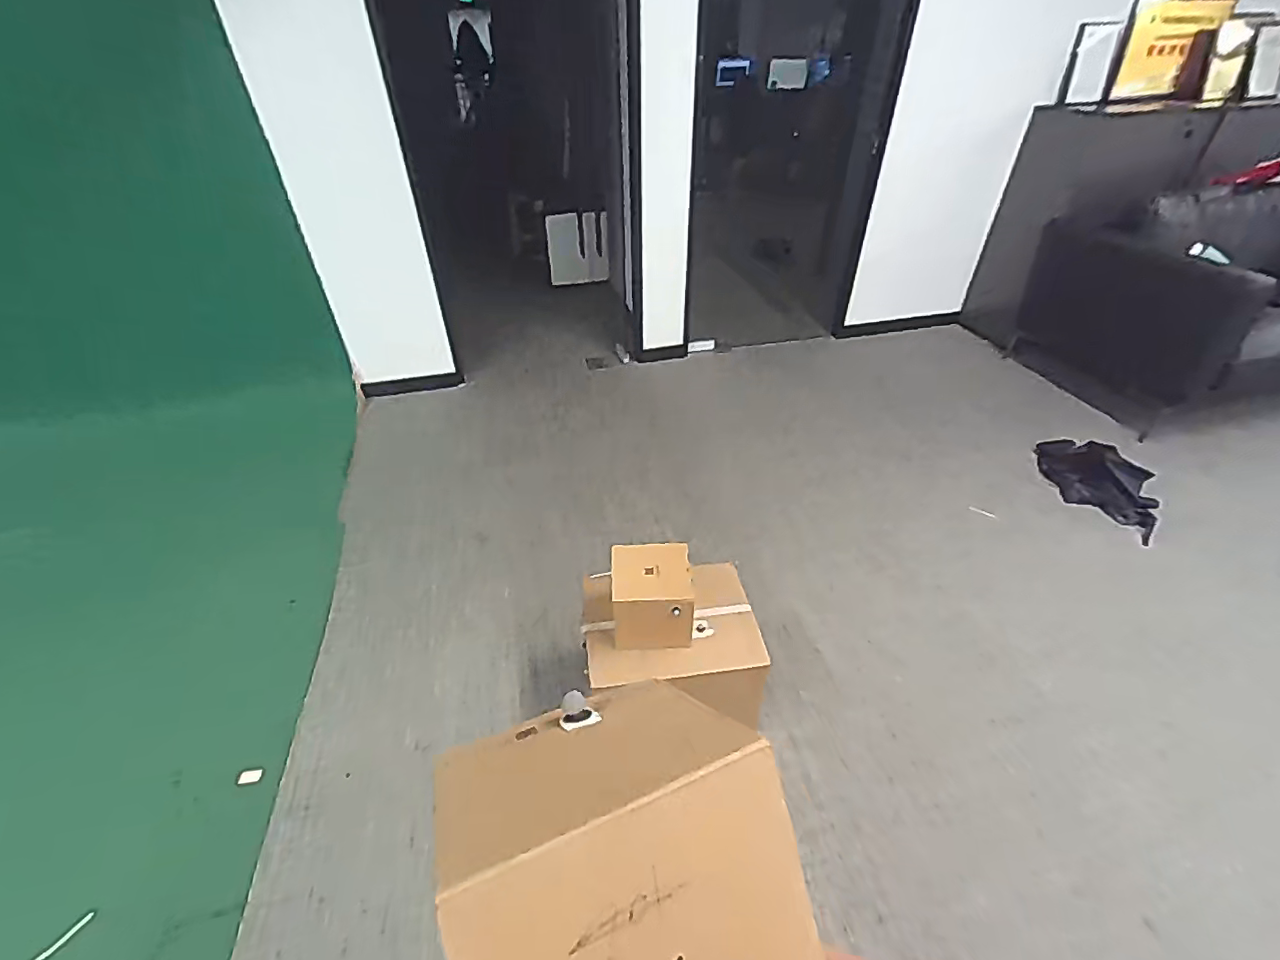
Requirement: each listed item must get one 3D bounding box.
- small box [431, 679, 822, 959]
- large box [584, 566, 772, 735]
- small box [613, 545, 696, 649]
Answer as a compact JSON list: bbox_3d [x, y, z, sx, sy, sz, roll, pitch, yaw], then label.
[{"bbox_3d":[-0.018,0.240,0.315,0.168,0.179,0.176,-13,-4,-23],"label":"small box"},{"bbox_3d":[0.073,0.453,1.377,0.408,0.320,0.320,-4,40,-7],"label":"large box"},{"bbox_3d":[0.029,0.266,1.222,0.179,0.176,0.168,-1,38,-2],"label":"small box"}]
